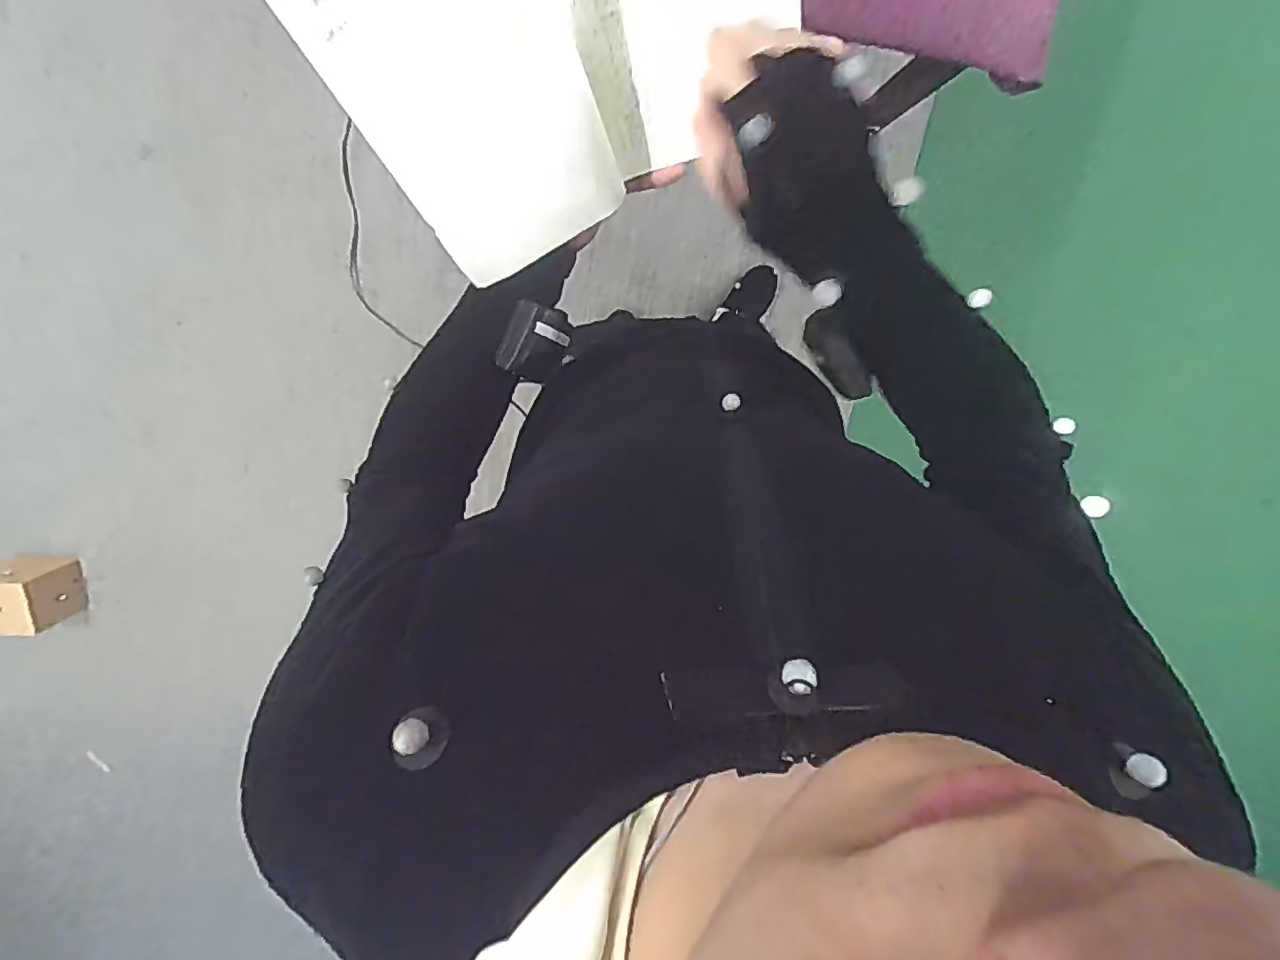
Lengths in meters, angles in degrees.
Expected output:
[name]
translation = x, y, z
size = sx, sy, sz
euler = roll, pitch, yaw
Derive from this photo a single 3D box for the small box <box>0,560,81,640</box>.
[small box]
translation = -1.783, 0.342, 1.563
size = 0.179, 0.176, 0.168
euler = 4, 105, -4
